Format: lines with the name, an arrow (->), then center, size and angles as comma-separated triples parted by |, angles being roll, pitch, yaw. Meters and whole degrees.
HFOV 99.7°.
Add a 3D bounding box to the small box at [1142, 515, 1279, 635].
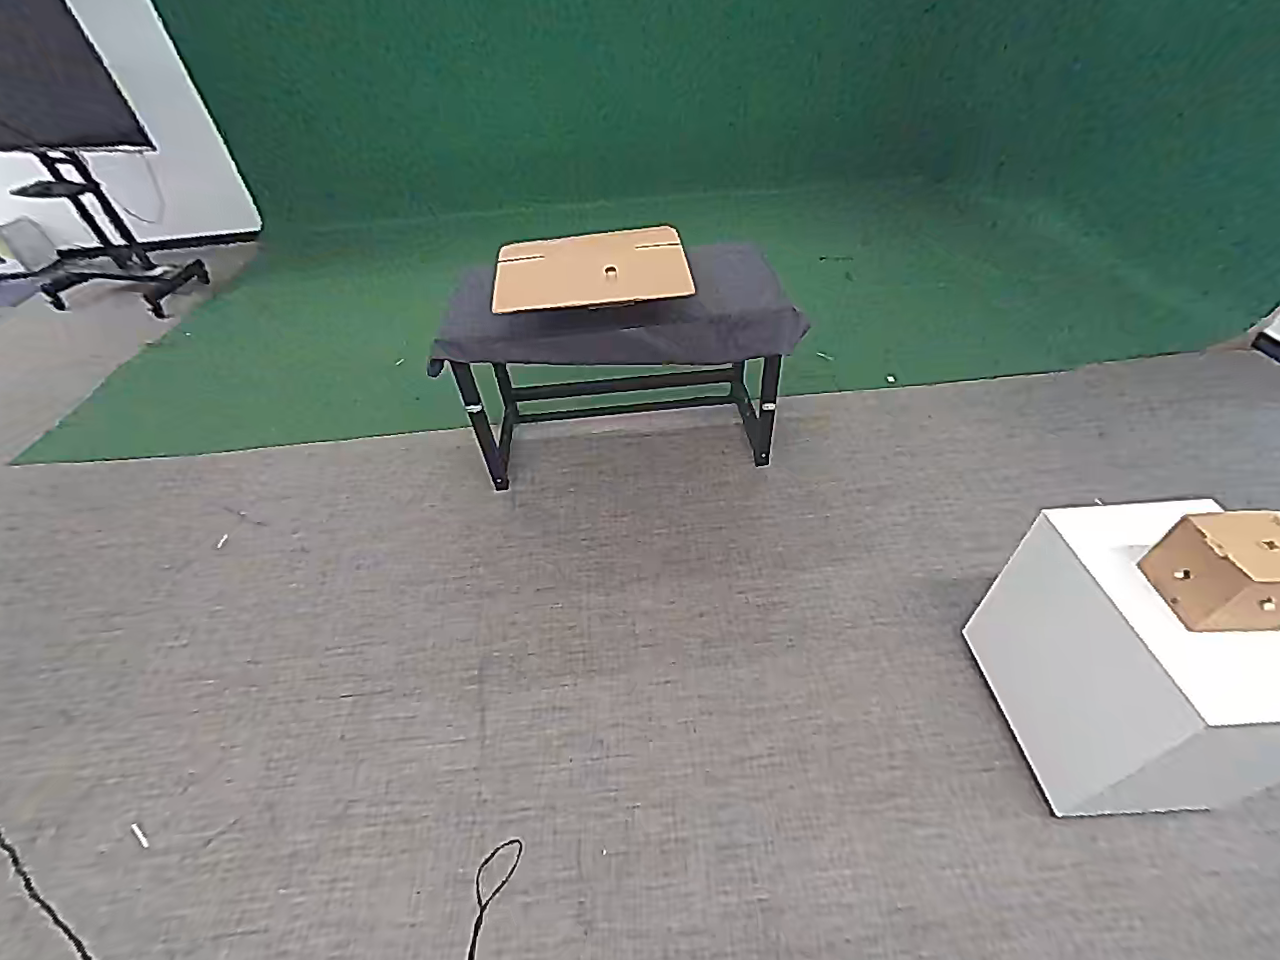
small box -> 1.141, 0.187, 1.050 | 0.179, 0.176, 0.168 | -3, 43, 0
